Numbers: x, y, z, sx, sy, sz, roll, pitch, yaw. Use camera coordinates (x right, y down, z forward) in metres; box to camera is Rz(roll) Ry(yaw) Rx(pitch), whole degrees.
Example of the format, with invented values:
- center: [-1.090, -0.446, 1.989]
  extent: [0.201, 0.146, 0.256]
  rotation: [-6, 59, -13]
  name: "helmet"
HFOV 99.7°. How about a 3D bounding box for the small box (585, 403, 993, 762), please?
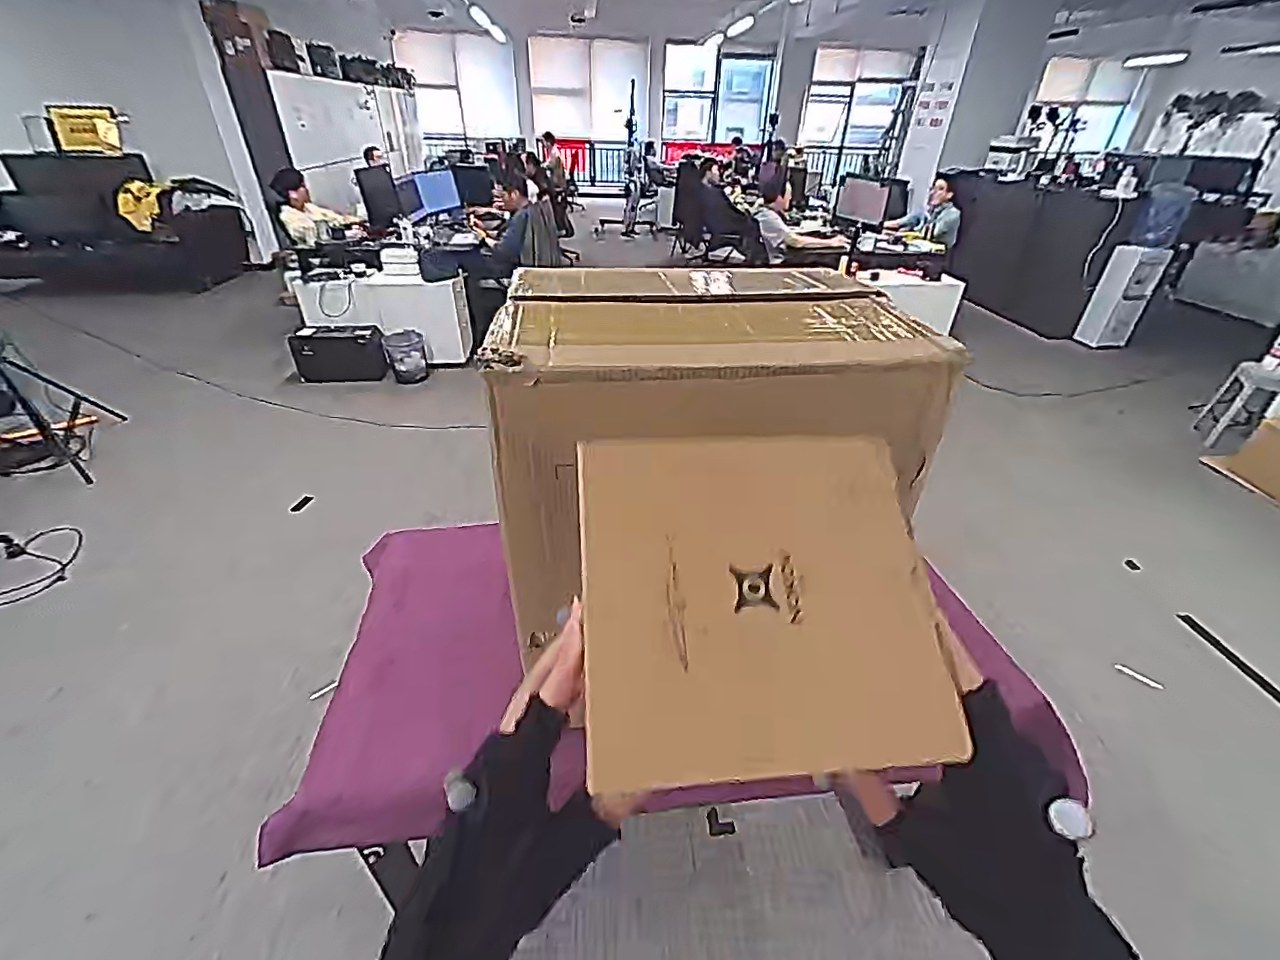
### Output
- center: [0.057, 0.066, 0.328]
  extent: [0.179, 0.176, 0.168]
  rotation: [-2, 67, -6]
  name: "small box"
